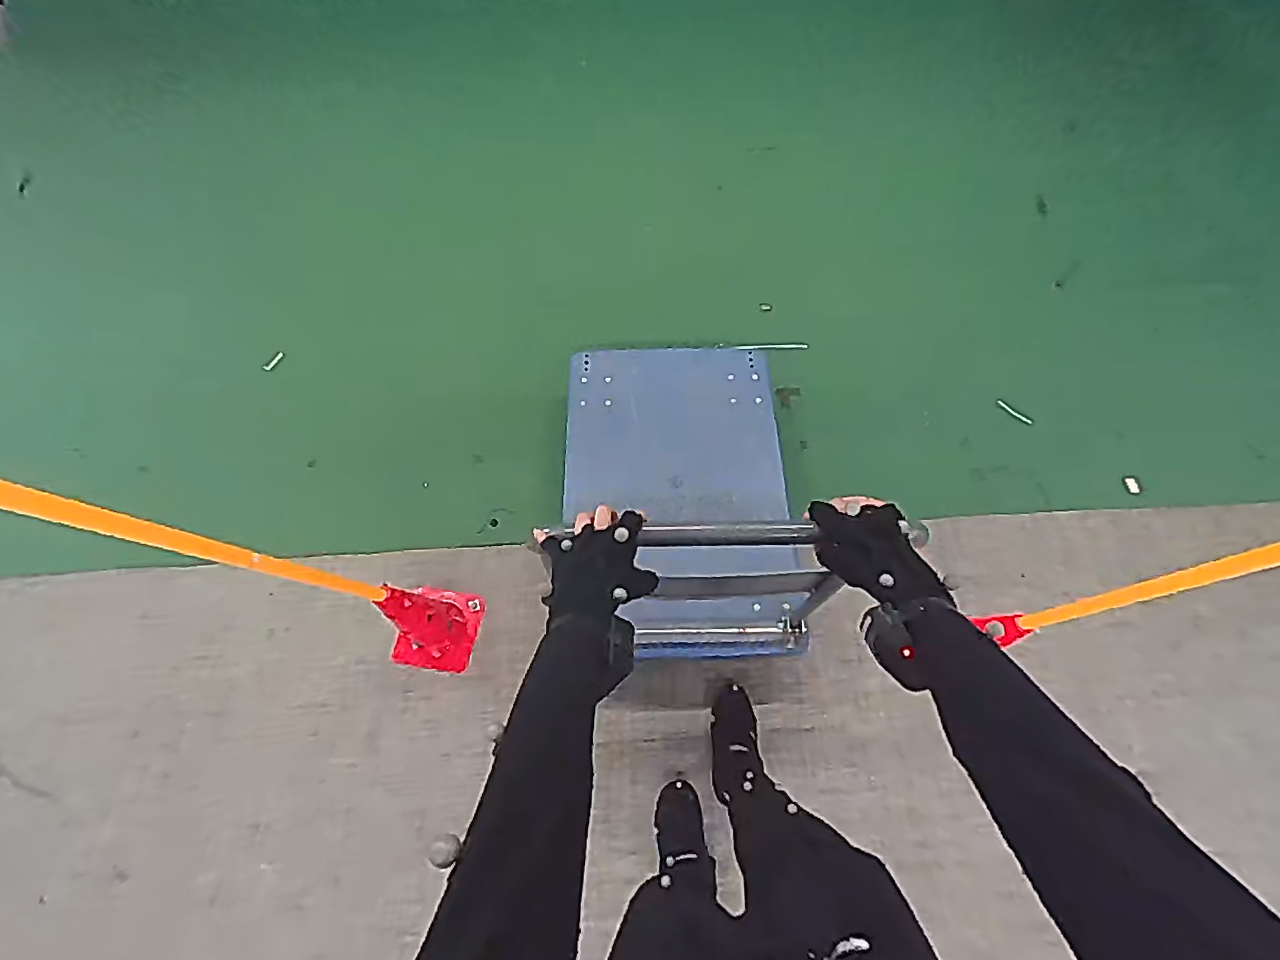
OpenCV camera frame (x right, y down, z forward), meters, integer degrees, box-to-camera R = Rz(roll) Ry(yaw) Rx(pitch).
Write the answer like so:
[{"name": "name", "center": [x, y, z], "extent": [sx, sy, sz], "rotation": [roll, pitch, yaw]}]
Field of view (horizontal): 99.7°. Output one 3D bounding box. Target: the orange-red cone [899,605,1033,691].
[{"name": "orange-red cone", "center": [0.768, 0.356, 1.236], "extent": [0.198, 0.360, 0.199], "rotation": [7, 65, 4]}]
